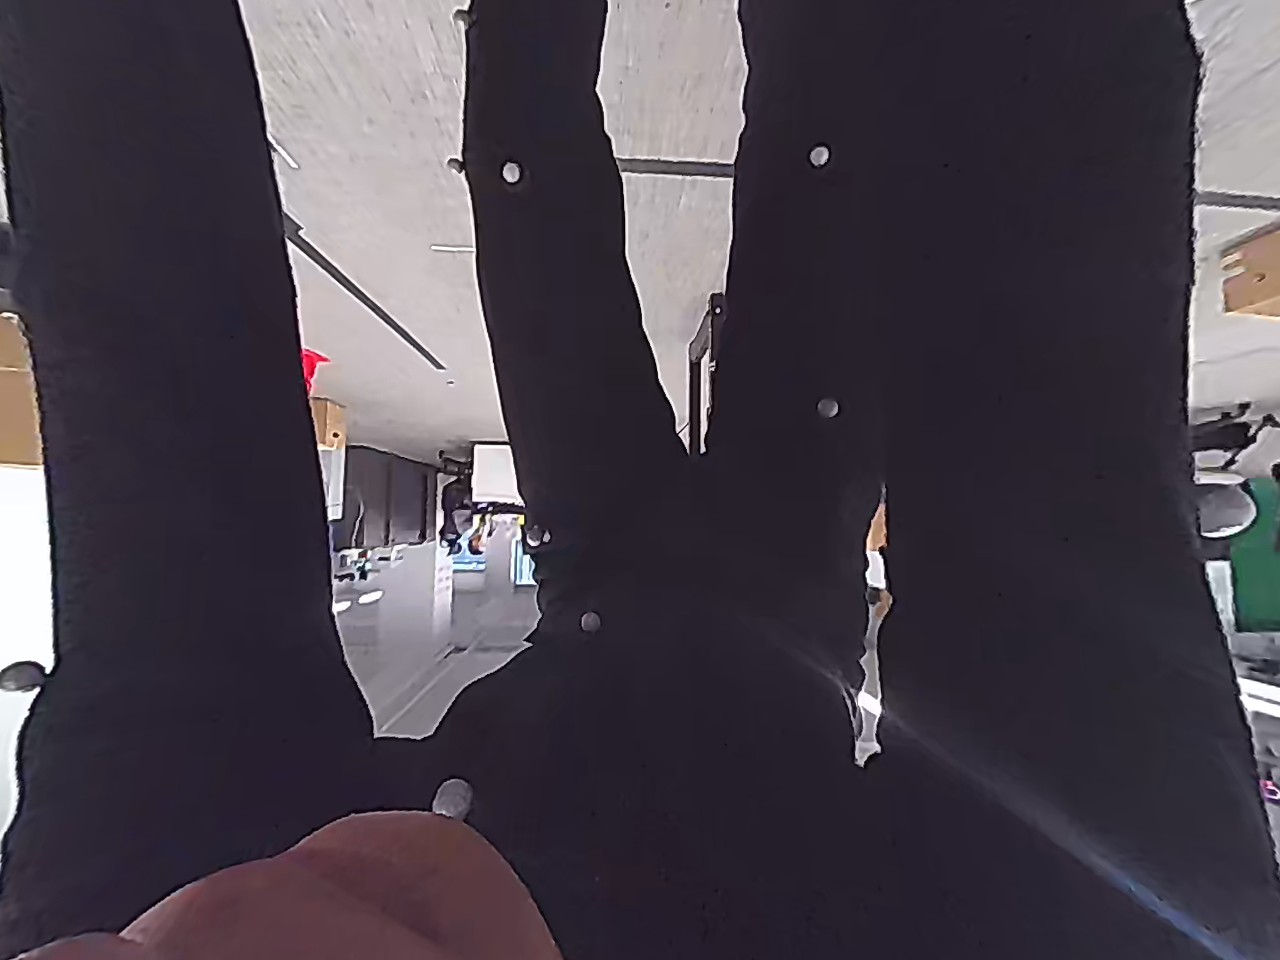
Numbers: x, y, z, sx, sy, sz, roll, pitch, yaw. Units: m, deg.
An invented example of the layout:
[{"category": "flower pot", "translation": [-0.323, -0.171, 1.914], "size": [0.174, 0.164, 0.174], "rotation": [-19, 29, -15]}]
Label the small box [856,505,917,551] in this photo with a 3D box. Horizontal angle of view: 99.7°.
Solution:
[{"category": "small box", "translation": [0.950, 0.183, 2.098], "size": [0.179, 0.176, 0.168], "rotation": [0, 175, 6]}]
